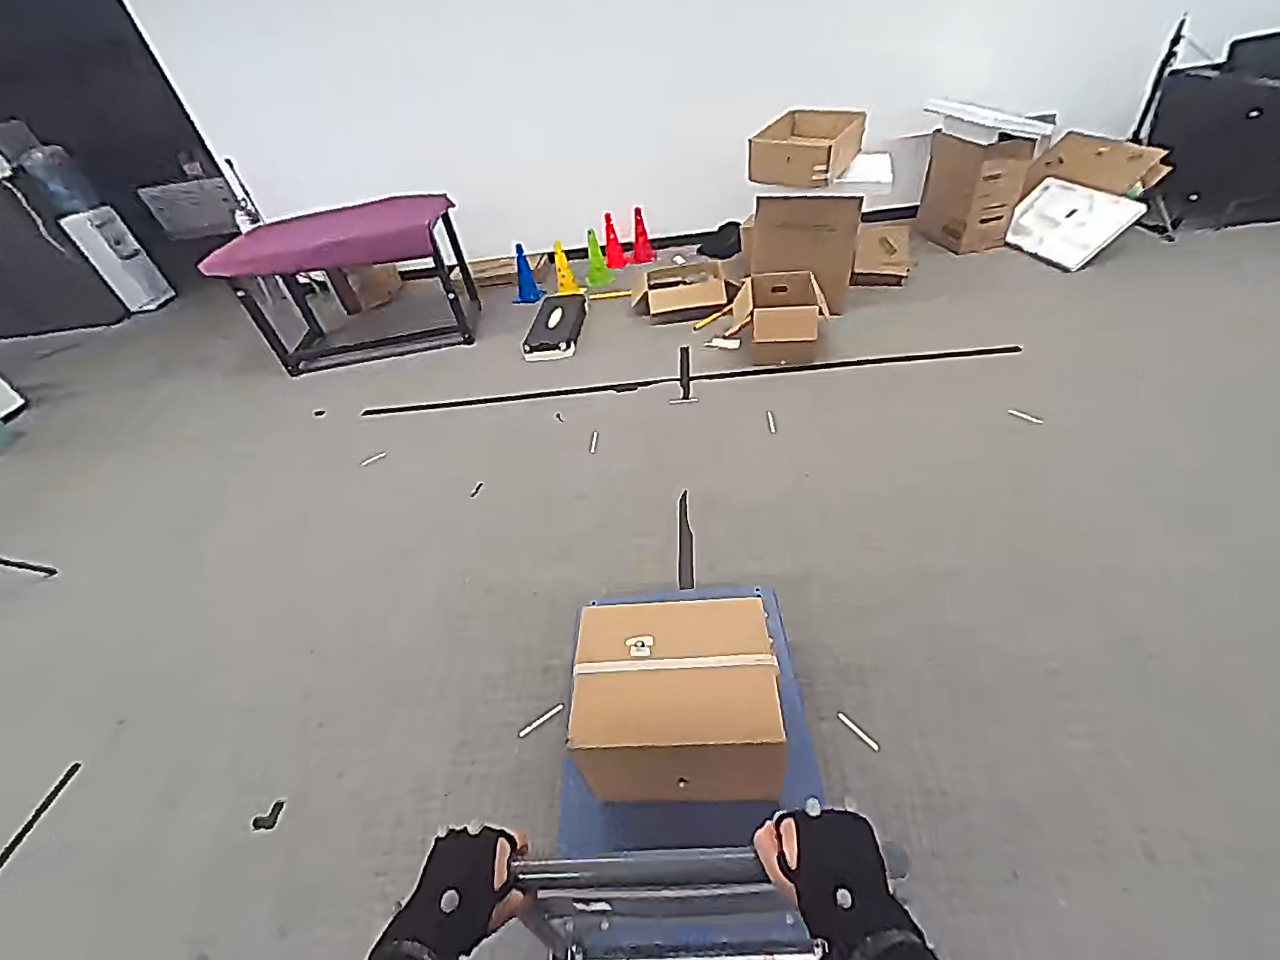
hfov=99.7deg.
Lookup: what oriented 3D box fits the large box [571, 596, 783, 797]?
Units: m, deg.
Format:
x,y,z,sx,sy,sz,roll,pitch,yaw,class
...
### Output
x,y,z,sx,sy,sz,roll,pitch,yaw,class
0.089,0.490,1.212,0.408,0.320,0.320,-5,41,7,large box
